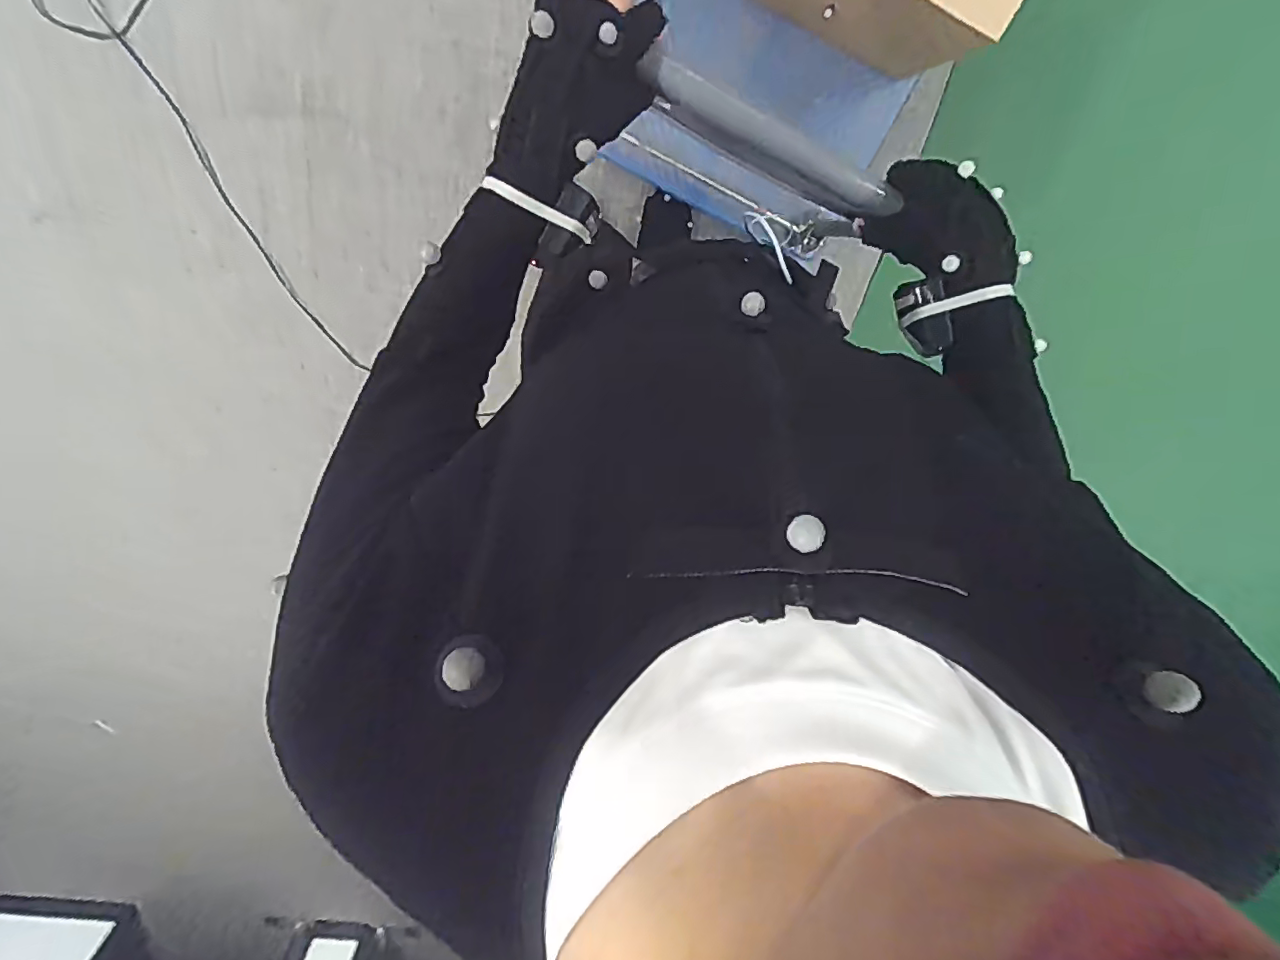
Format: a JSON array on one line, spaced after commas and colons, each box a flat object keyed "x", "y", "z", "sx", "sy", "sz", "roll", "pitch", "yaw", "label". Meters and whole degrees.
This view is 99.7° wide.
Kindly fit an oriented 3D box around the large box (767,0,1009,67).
[{"x": 0.352, "y": -0.867, "z": 0.767, "sx": 0.408, "sy": 0.320, "sz": 0.320, "roll": 20, "pitch": 117, "yaw": -10, "label": "large box"}]
